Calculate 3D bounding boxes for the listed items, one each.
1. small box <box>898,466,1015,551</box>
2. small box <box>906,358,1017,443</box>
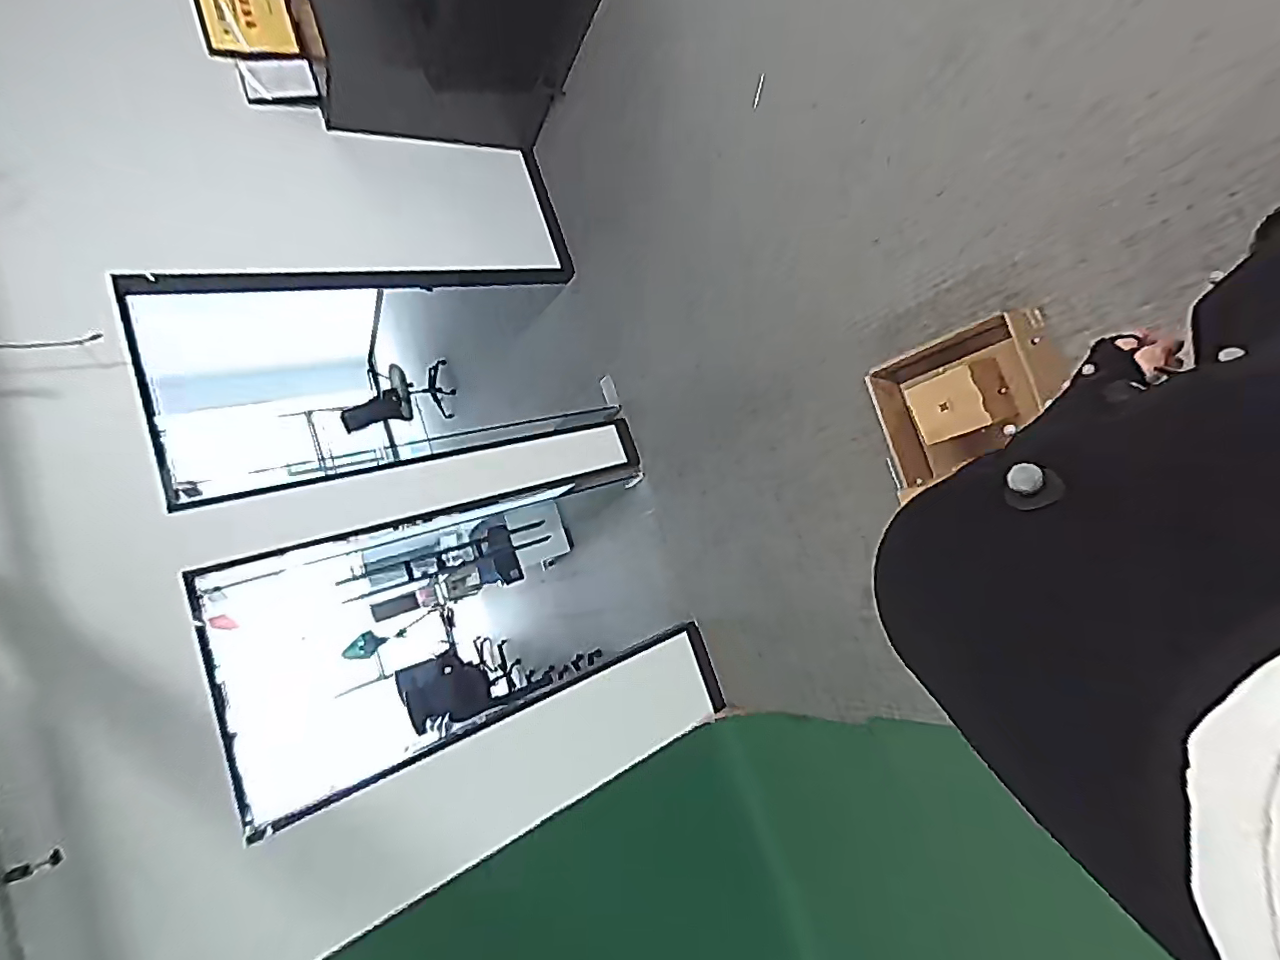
[{"bbox_3d":[0.798,0.073,1.364,0.179,0.176,0.168,-22,84,57],"label":"small box"},{"bbox_3d":[0.865,-0.213,1.456,0.179,0.176,0.168,-29,79,55],"label":"small box"}]
